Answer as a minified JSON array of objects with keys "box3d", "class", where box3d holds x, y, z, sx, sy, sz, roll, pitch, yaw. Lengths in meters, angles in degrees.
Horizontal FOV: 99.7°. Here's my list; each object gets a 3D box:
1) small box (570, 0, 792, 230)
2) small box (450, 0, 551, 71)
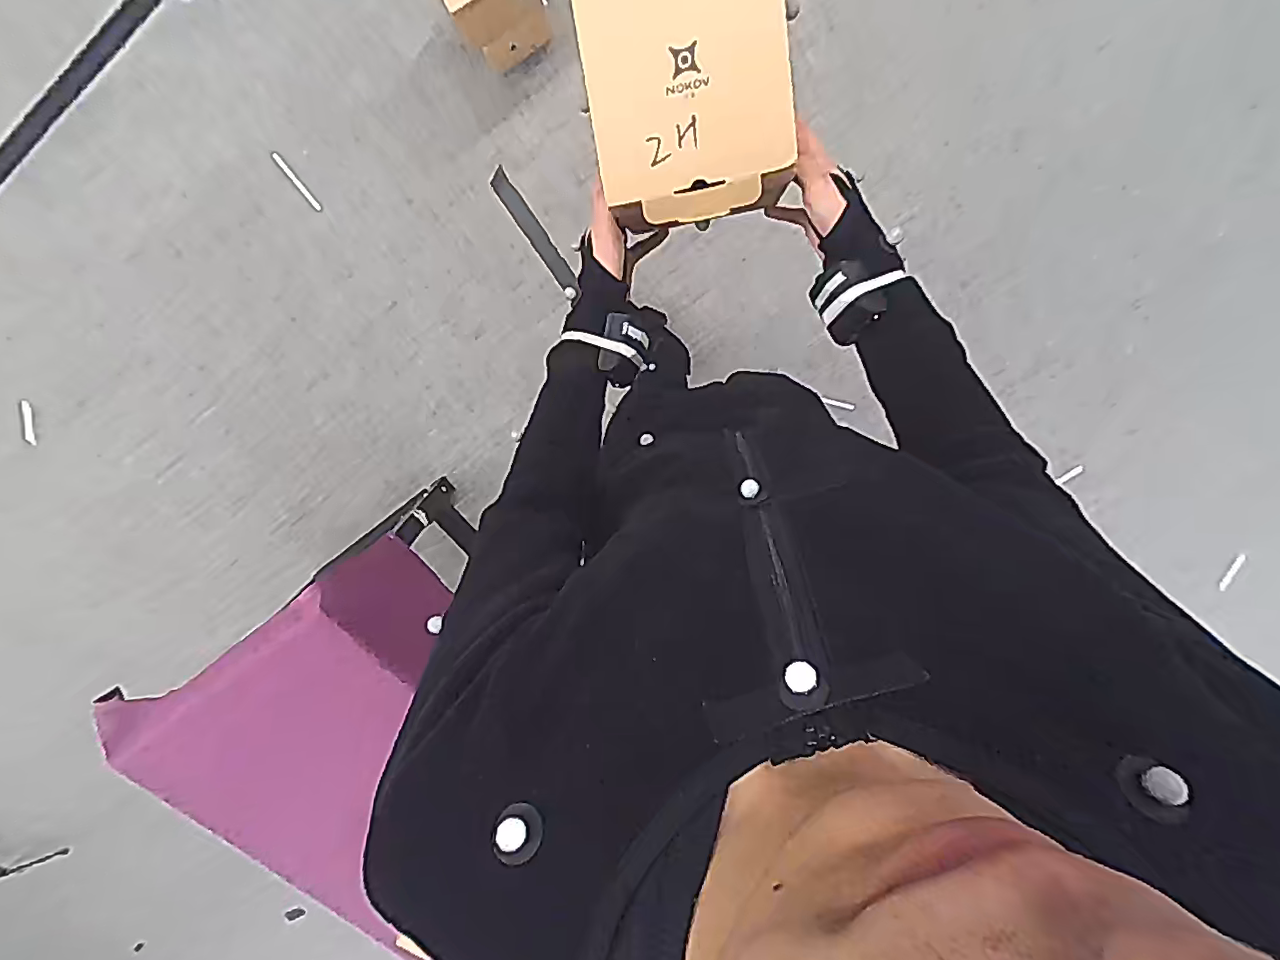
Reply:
[{"box3d":[0.042,-0.355,0.512,0.168,0.176,0.179,-7,106,10],"class":"small box"},{"box3d":[-0.311,-1.038,1.180,0.168,0.176,0.179,-31,109,9],"class":"small box"}]
